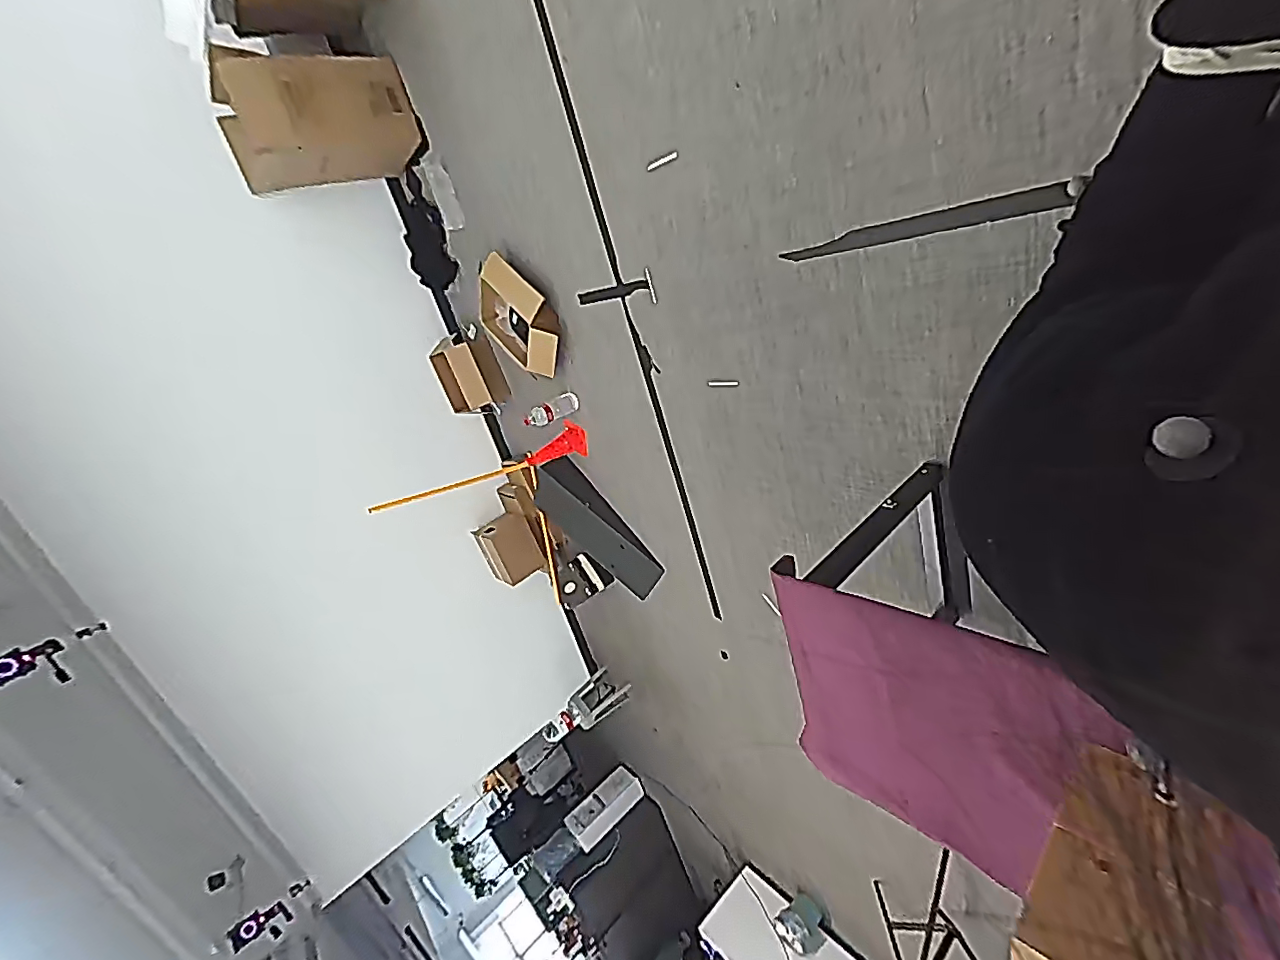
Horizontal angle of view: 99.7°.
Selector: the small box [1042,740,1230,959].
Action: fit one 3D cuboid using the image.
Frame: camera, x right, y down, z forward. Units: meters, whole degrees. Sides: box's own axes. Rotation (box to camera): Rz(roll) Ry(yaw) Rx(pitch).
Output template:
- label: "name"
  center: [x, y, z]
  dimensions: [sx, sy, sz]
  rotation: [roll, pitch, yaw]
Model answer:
- label: "small box"
  center: [0.700, 0.520, 0.769]
  dimensions: [0.168, 0.176, 0.179]
  rotation: [13, 127, 48]
